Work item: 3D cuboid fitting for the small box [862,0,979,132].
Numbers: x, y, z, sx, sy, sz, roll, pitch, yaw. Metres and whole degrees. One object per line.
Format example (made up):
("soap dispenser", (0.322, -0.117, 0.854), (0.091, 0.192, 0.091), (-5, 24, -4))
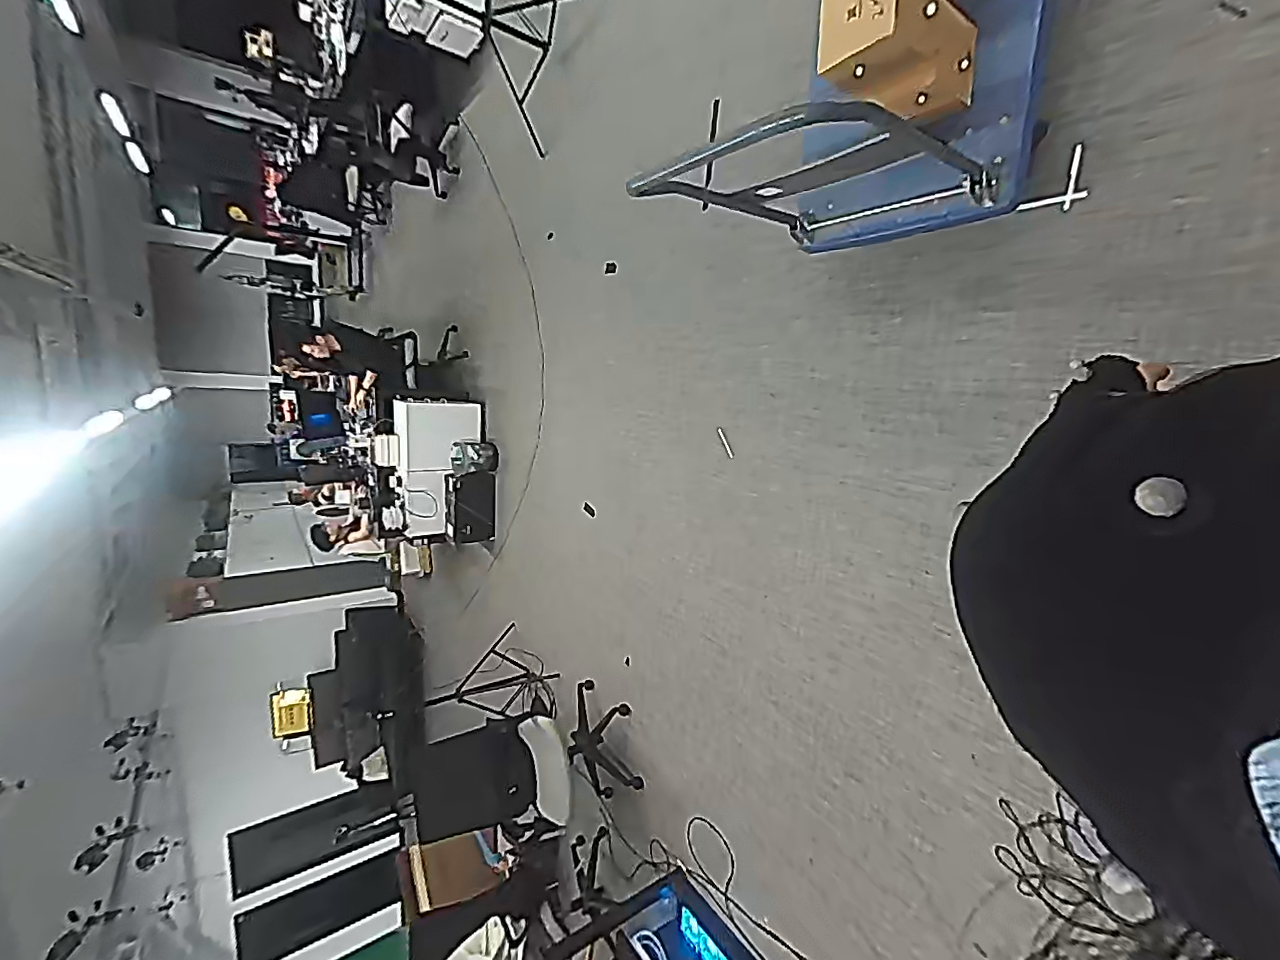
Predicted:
("small box", (0.634, -0.930, 1.228), (0.179, 0.176, 0.168), (10, 101, 53))

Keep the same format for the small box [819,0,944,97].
("small box", (0.502, -0.947, 1.129), (0.179, 0.176, 0.168), (11, 102, 53))
